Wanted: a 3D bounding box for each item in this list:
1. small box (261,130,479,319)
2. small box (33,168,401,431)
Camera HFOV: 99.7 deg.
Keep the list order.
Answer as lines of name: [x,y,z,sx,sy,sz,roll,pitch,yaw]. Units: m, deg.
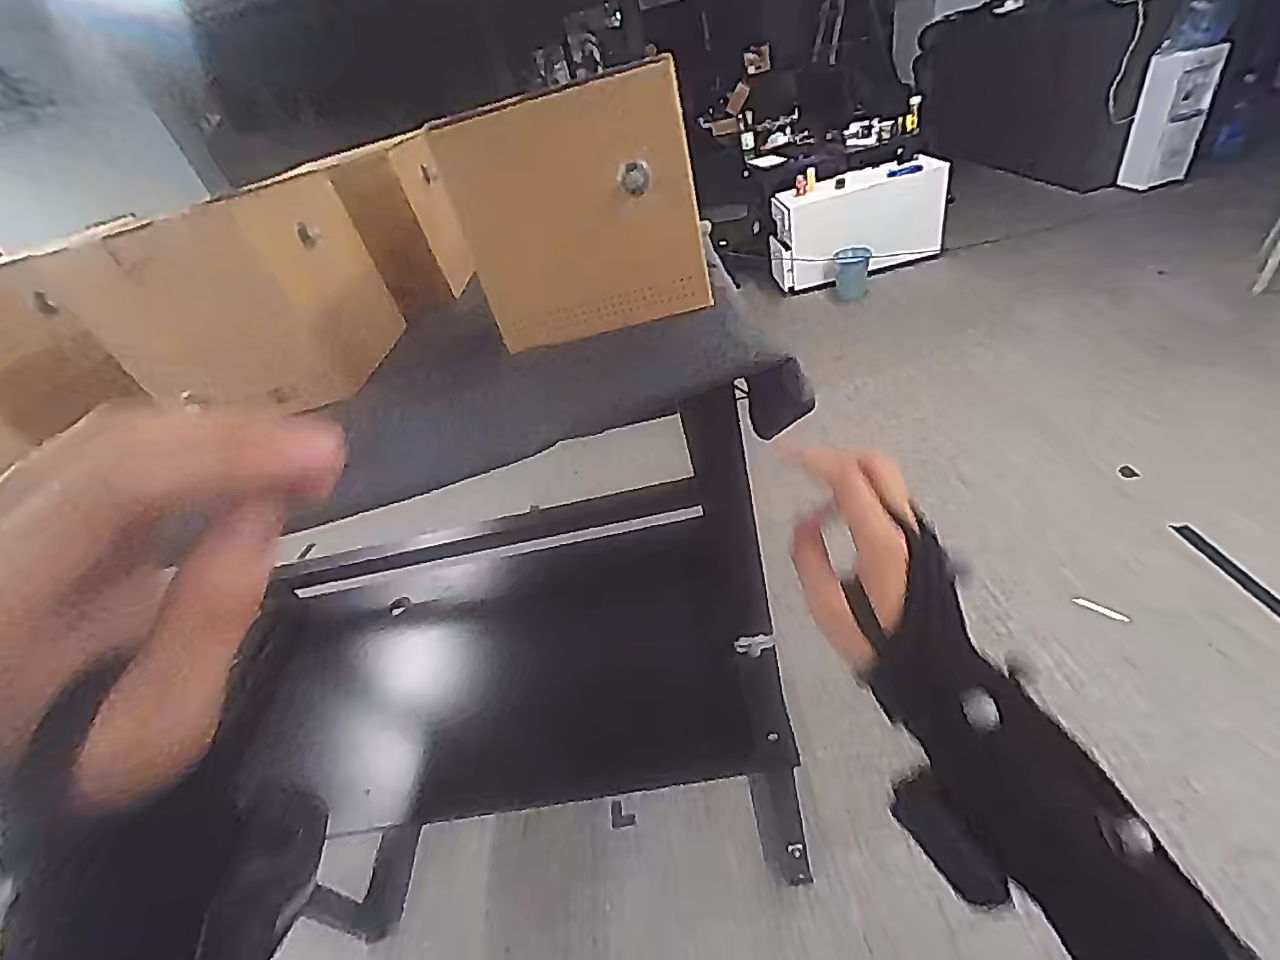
small box: [-0.318,-0.309,0.672,0.168,0.176,0.179,-12,39,6]
small box: [-0.351,-0.161,0.500,0.168,0.176,0.179,-14,36,5]
